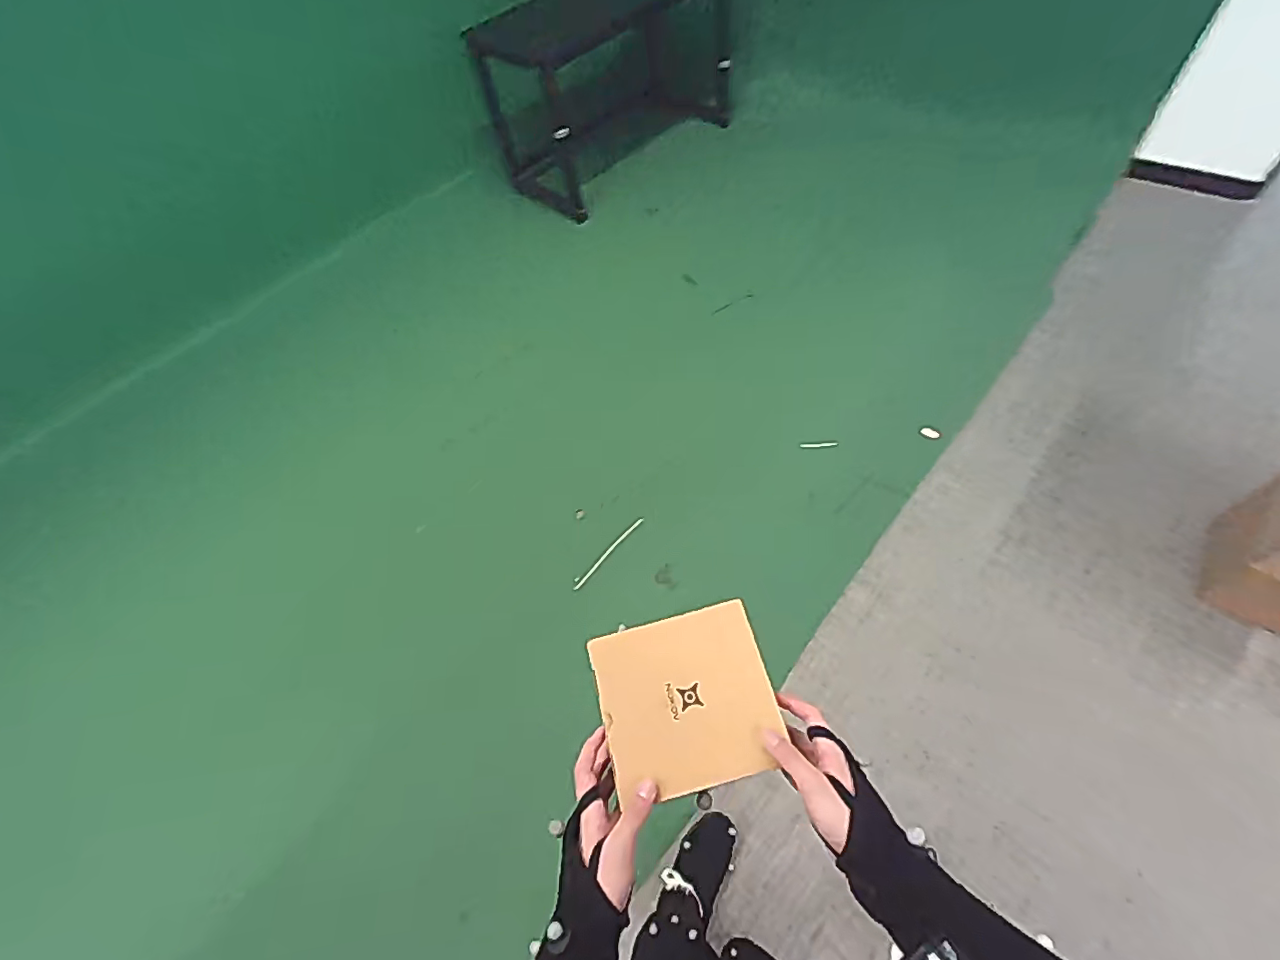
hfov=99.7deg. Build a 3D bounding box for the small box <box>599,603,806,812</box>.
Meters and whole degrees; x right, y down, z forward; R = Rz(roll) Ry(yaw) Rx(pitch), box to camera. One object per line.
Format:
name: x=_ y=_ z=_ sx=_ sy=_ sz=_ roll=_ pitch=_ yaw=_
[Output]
small box: x=0.063 y=0.258 z=0.614 sx=0.179 sy=0.176 sz=0.168 roll=-14 pitch=61 yaw=-2
